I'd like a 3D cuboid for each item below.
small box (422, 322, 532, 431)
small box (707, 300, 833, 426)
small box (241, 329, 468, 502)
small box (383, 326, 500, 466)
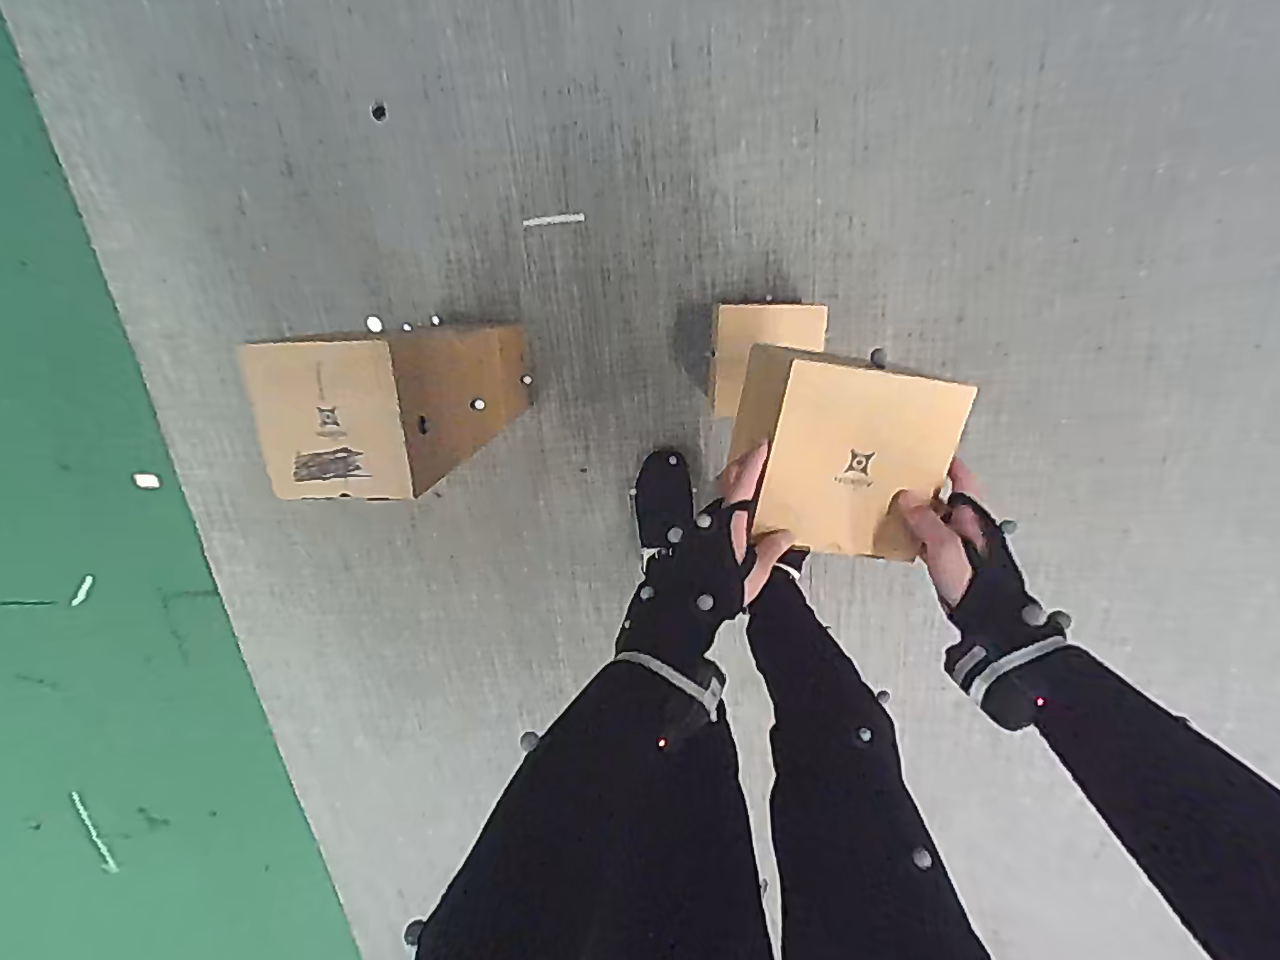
[{"bbox_3d":[-0.302,-0.189,0.960,0.179,0.176,0.168,1,110,3],"label":"small box"},{"bbox_3d":[0.207,-0.205,0.915,0.168,0.176,0.179,8,110,3],"label":"small box"},{"bbox_3d":[-0.320,-0.085,0.649,0.168,0.176,0.179,0,109,4],"label":"small box"},{"bbox_3d":[-0.318,-0.131,0.808,0.168,0.176,0.179,1,110,4],"label":"small box"}]
